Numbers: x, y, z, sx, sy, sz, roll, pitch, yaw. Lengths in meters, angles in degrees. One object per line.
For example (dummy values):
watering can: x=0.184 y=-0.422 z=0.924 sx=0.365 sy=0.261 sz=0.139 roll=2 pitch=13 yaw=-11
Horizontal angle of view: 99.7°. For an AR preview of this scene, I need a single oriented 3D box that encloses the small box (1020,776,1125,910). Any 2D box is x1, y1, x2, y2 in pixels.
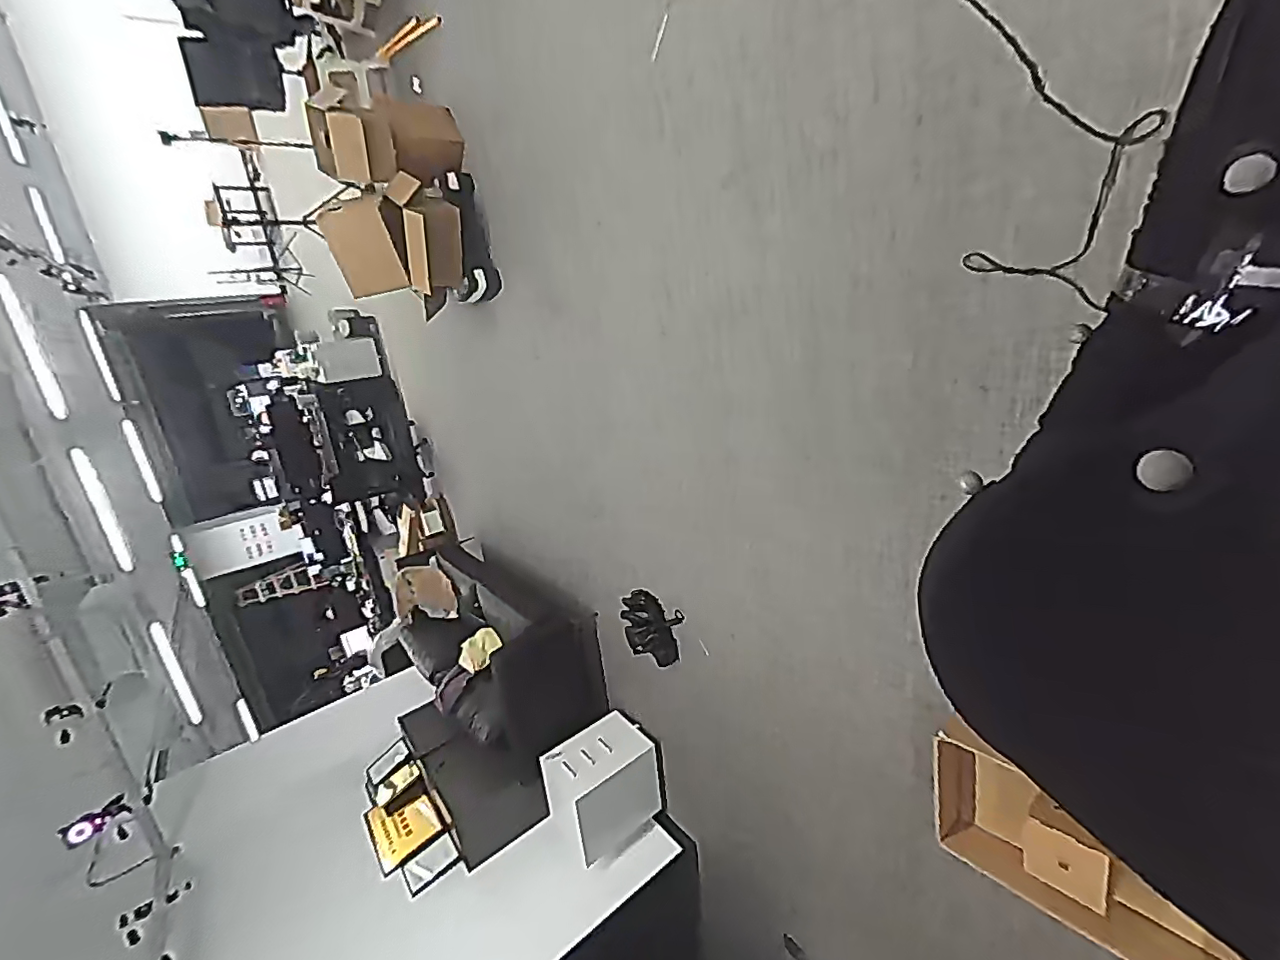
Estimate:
small box: x=1.067 y=0.882 z=1.335 sx=0.168 sy=0.176 sz=0.179 roll=10 pitch=115 yaw=54
